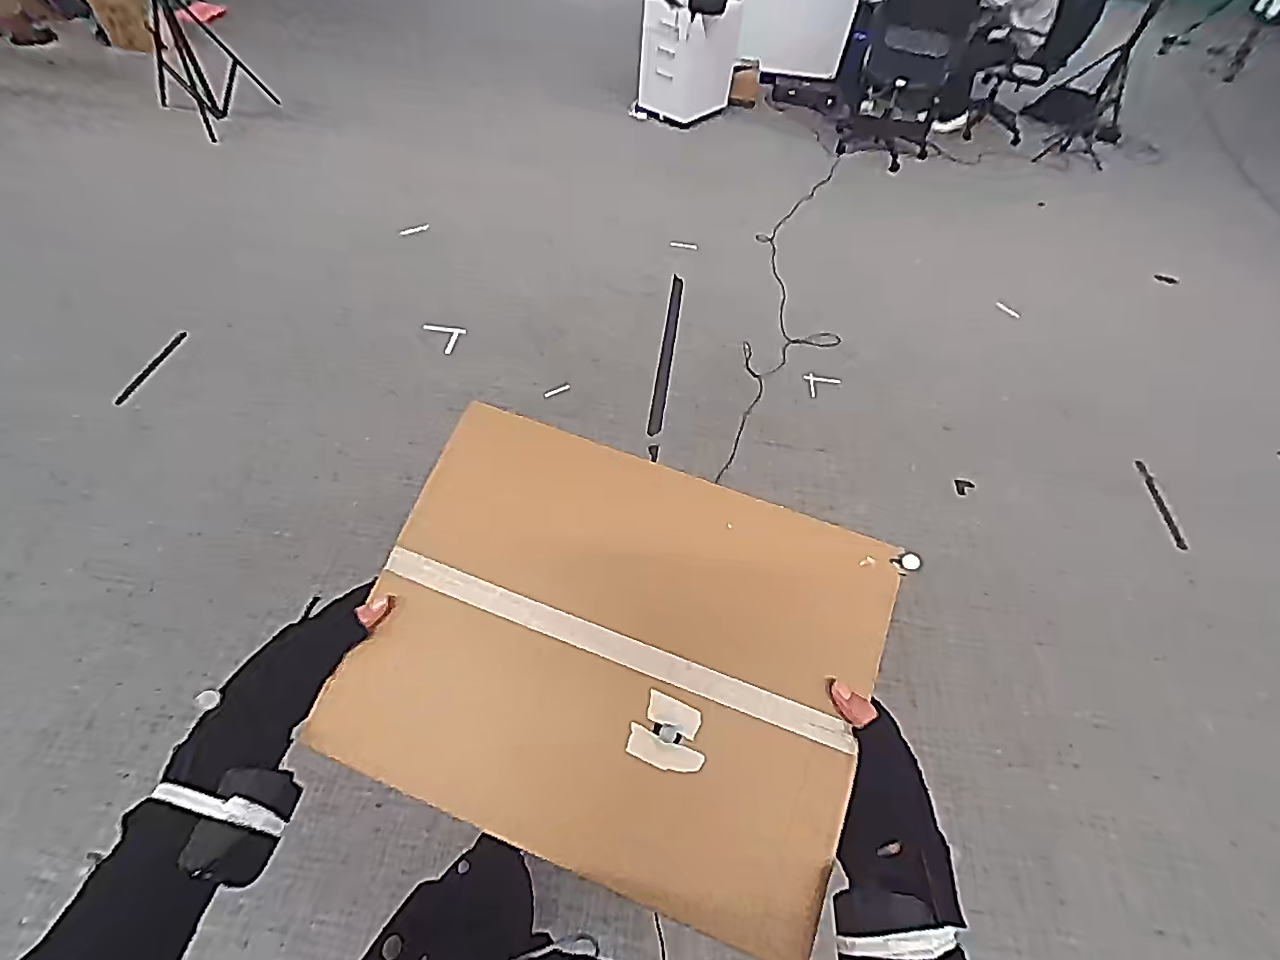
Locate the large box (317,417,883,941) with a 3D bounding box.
[{"bbox_3d":[-0.023,0.180,0.592,0.408,0.320,0.320,19,74,7],"label":"large box"}]
